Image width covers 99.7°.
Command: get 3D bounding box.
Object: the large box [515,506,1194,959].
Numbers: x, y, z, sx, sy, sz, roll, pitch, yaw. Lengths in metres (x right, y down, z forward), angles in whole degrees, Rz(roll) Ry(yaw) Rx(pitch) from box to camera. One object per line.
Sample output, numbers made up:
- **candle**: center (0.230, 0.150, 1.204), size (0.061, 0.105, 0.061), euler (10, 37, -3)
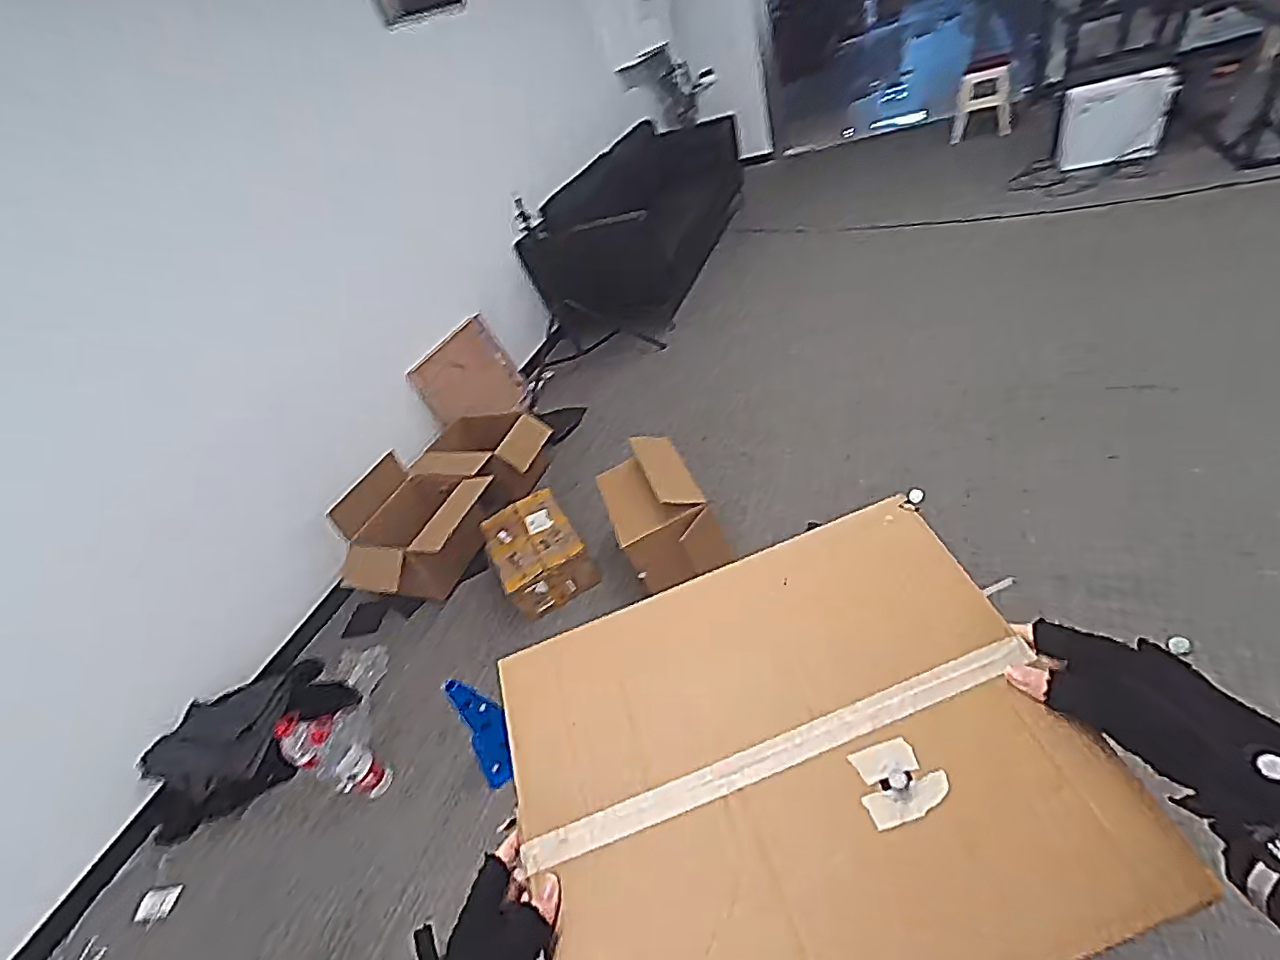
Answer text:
- **large box**: center (0.144, 0.296, 0.532), size (0.408, 0.320, 0.320), euler (-23, 53, -1)
